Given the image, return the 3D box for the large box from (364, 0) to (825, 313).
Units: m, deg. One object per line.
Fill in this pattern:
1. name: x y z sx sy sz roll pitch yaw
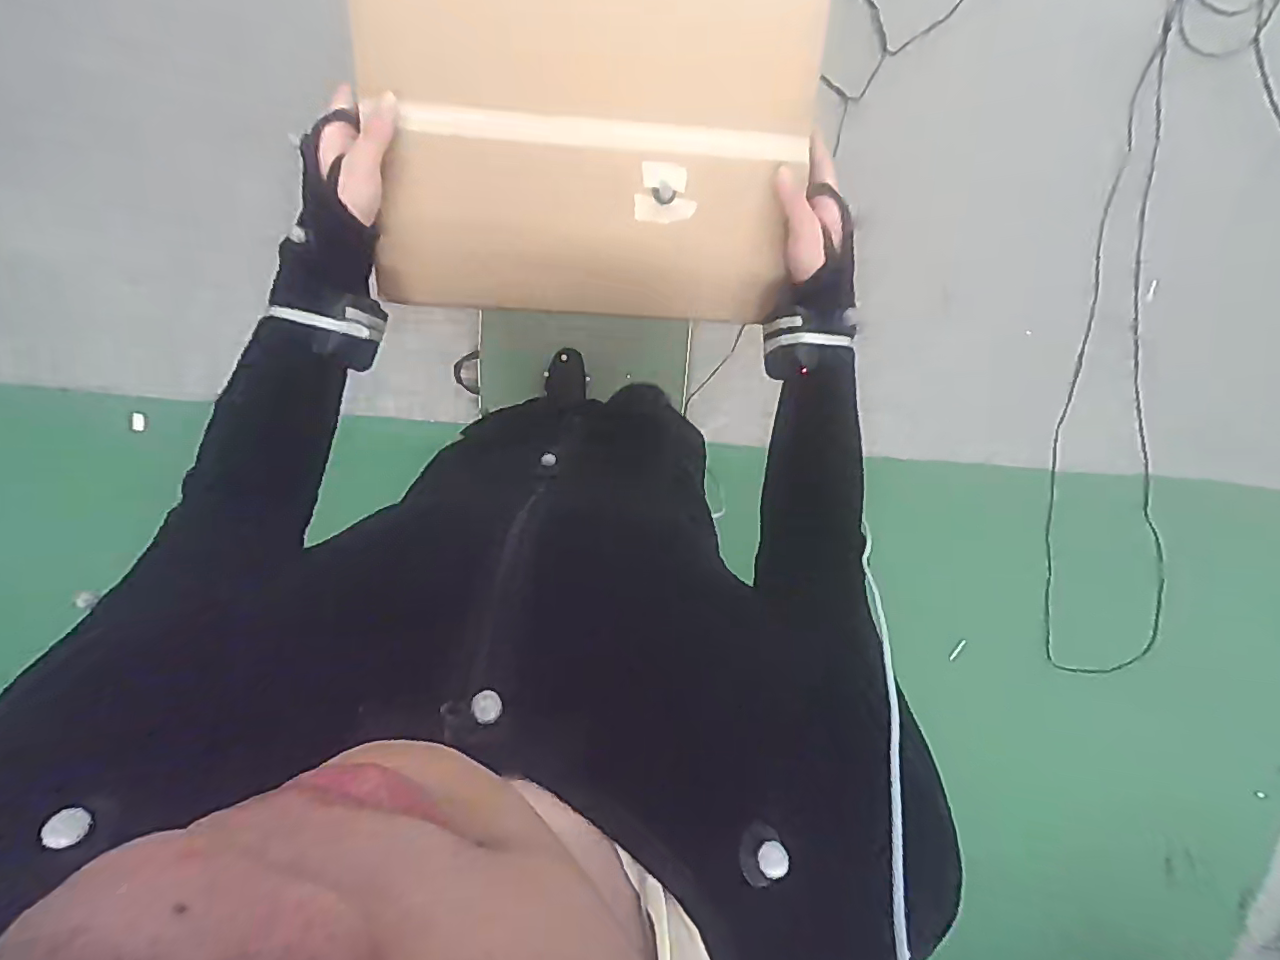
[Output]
1. large box: -0.054 -0.370 0.637 0.408 0.320 0.320 1 110 -7
